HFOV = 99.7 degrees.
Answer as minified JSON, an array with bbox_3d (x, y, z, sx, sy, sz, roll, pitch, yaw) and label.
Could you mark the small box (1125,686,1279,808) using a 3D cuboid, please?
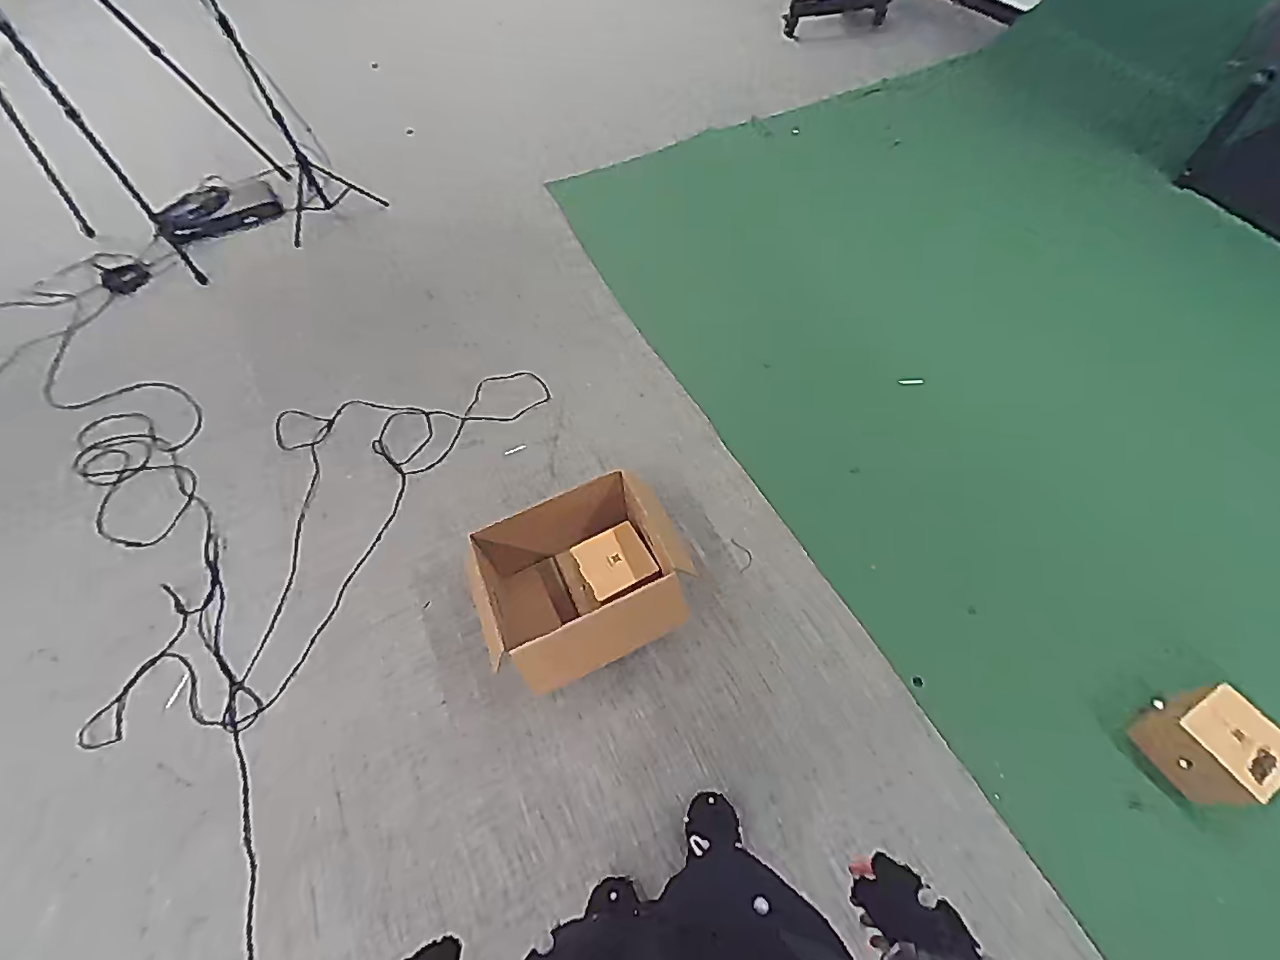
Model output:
[{"bbox_3d":[1.243,0.584,1.181,0.168,0.176,0.179,-27,60,-13],"label":"small box"}]
